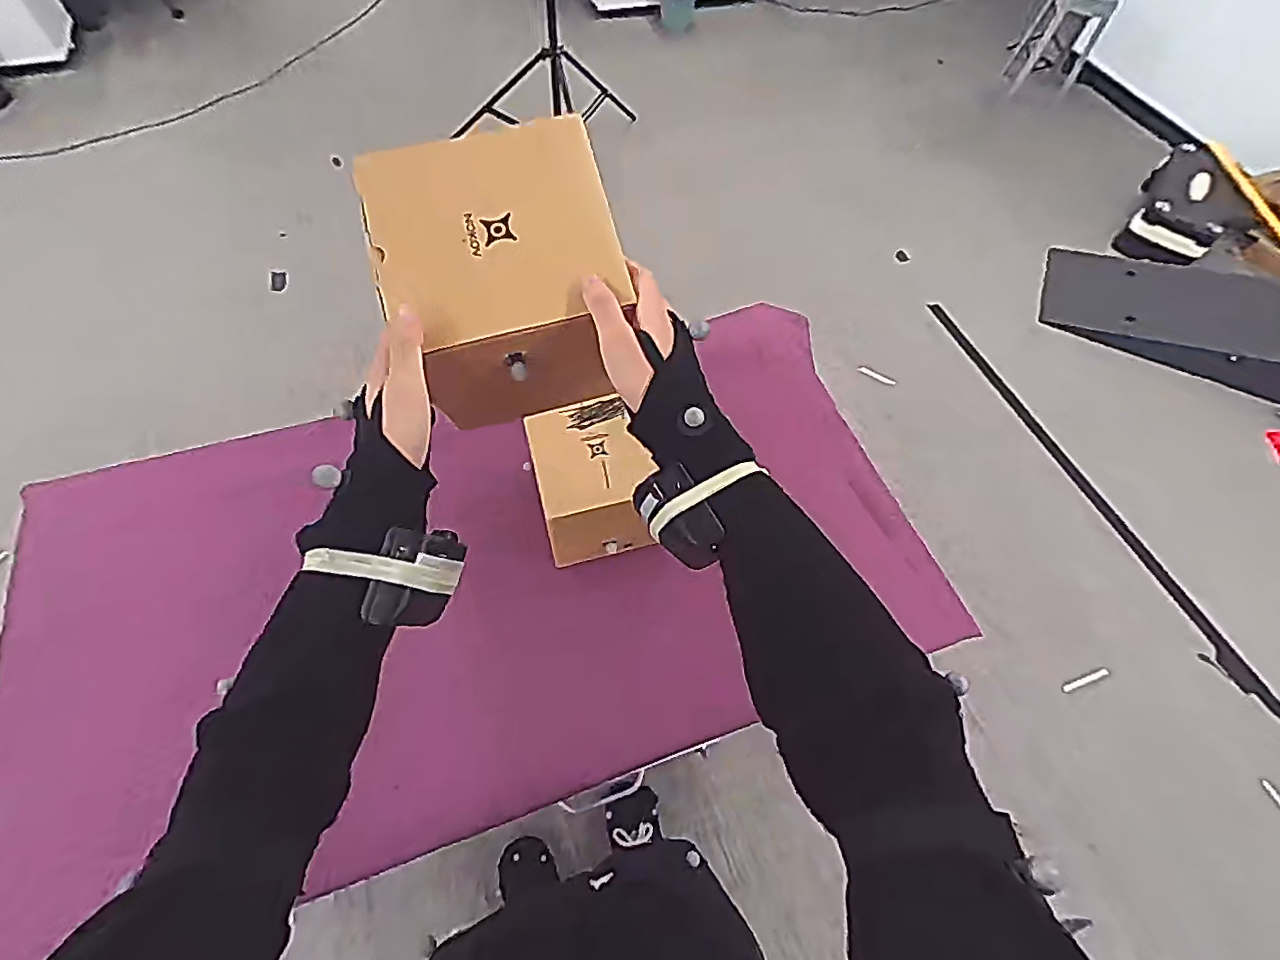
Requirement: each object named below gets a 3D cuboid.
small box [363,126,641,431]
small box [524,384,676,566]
[{"bbox_3d":[-0.105,-0.158,0.473,0.179,0.176,0.168,-15,79,-4],"label":"small box"},{"bbox_3d":[-0.061,-0.003,0.750,0.168,0.176,0.179,-13,63,-10],"label":"small box"}]
